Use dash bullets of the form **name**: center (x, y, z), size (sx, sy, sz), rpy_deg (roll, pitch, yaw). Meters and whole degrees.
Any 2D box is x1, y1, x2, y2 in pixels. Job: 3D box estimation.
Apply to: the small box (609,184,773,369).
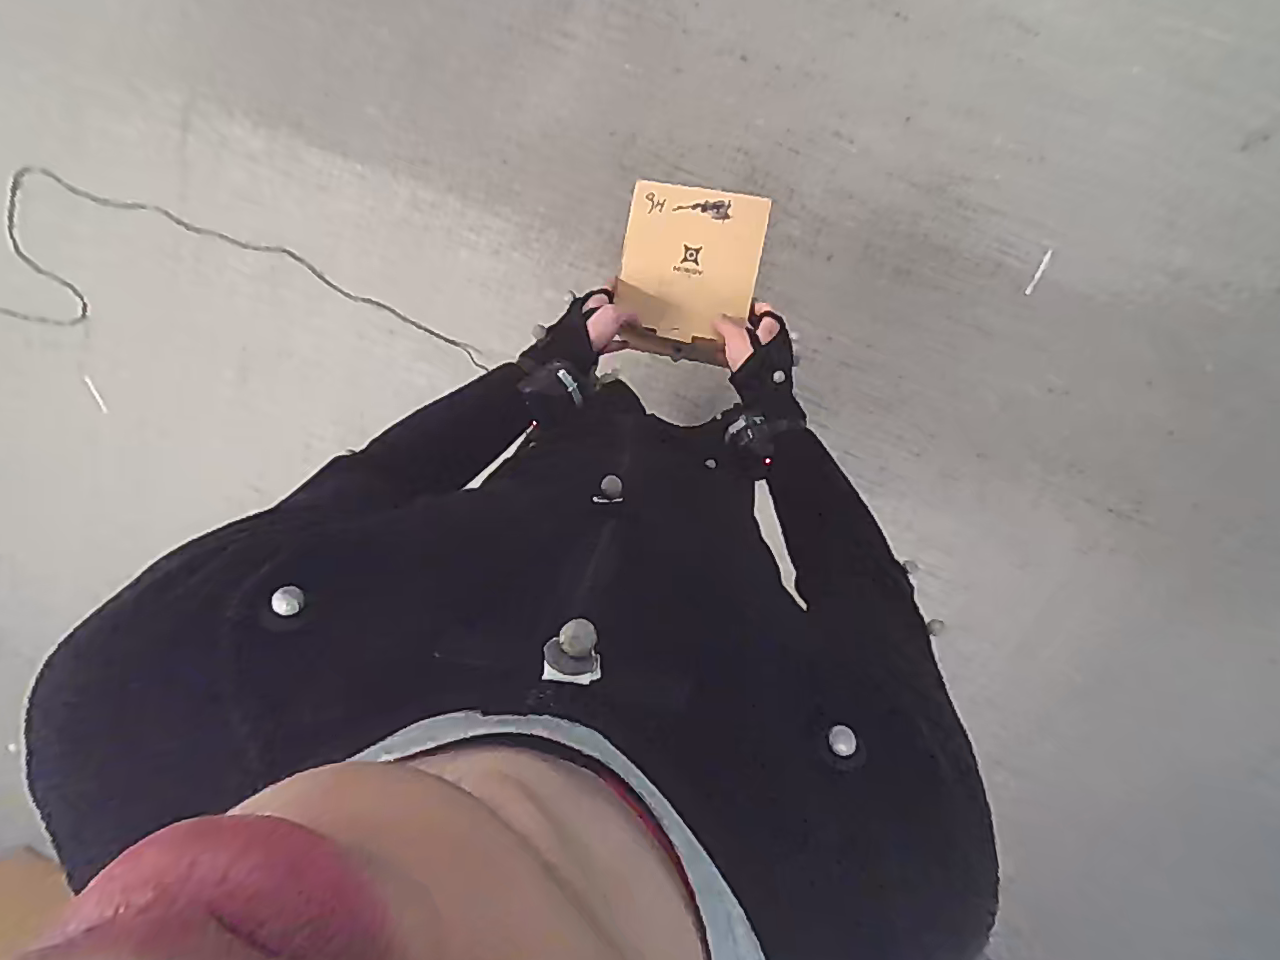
- **small box**: center (0.069, -0.251, 0.708), size (0.168, 0.176, 0.179), rpy_deg (11, 94, 6)
